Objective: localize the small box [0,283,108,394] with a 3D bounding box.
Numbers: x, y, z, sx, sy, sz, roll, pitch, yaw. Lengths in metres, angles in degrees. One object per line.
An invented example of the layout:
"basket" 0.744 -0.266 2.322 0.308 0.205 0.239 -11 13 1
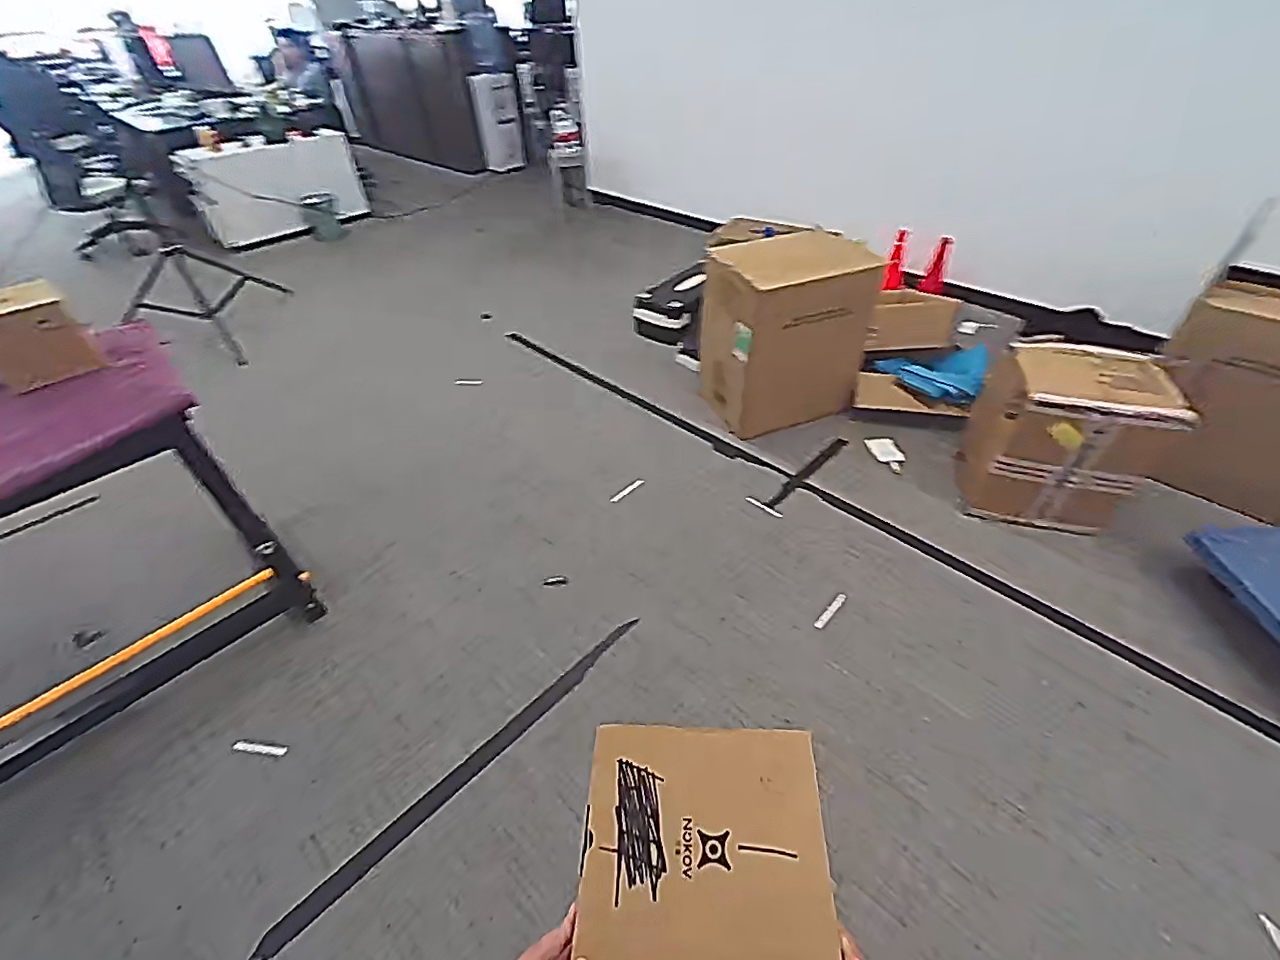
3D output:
"small box" -1.382 -0.325 1.244 0.168 0.176 0.179 33 53 31

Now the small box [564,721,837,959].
"small box" 0.051 0.312 0.443 0.179 0.176 0.168 -3 48 7
